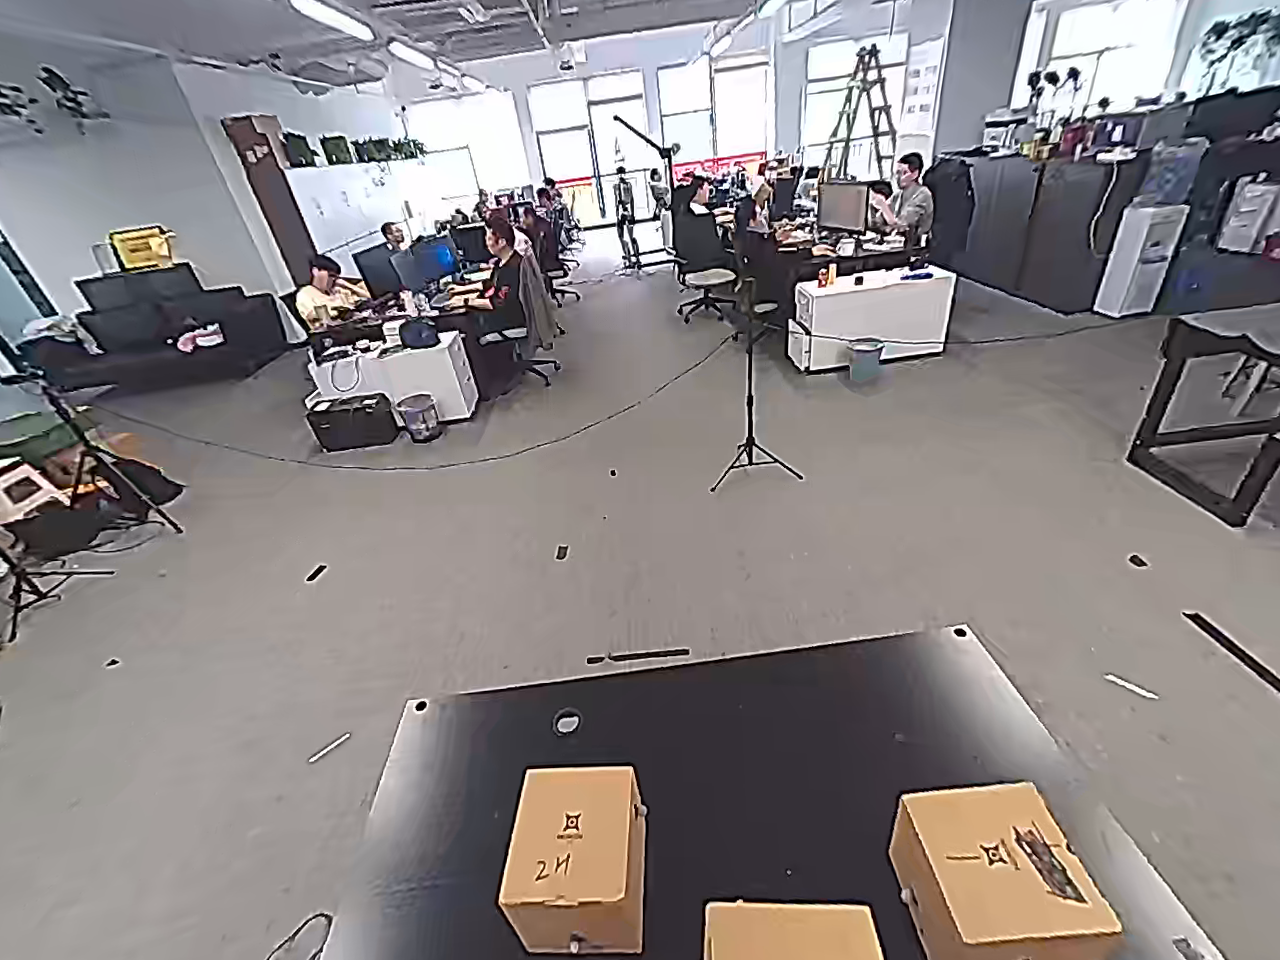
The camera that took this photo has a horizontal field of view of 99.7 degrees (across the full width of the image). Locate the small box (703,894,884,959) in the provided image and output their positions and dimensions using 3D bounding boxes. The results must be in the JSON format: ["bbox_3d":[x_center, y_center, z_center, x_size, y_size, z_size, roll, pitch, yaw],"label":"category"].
[{"bbox_3d":[0.156,0.557,0.550,0.179,0.176,0.168,-2,30,3],"label":"small box"}]

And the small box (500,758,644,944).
[{"bbox_3d":[-0.087,0.540,0.794,0.168,0.176,0.179,-5,33,6],"label":"small box"}]

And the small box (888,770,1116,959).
[{"bbox_3d":[0.449,0.512,0.707,0.179,0.176,0.168,-8,32,3],"label":"small box"}]
